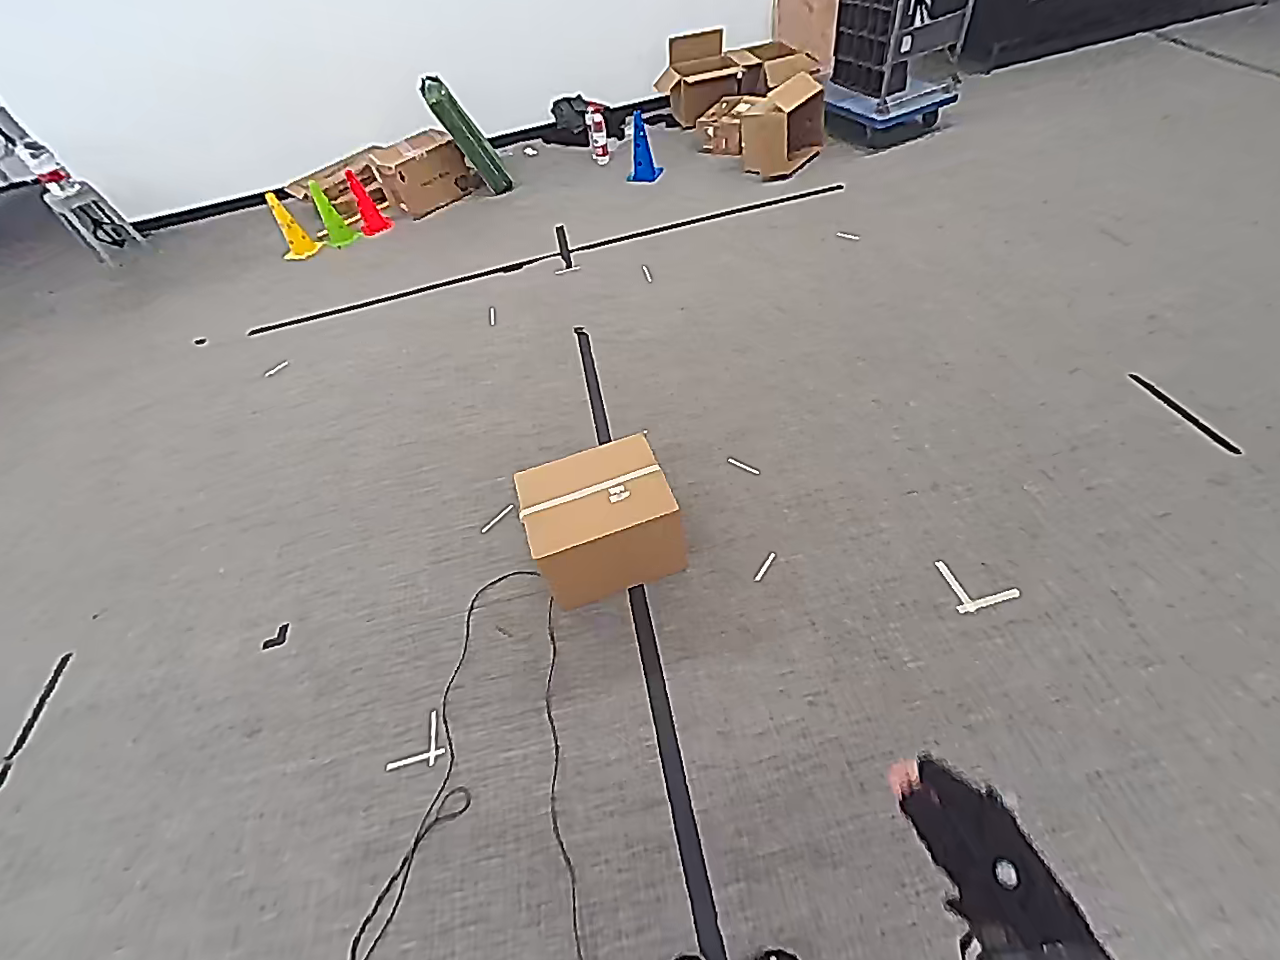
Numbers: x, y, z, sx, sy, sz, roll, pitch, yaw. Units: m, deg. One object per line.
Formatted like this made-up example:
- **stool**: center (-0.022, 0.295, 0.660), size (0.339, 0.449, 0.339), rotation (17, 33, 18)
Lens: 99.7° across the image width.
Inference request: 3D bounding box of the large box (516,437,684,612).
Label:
- **large box**: center (-0.112, 0.134, 1.606), size (0.408, 0.320, 0.320), rotation (-18, 51, -6)
